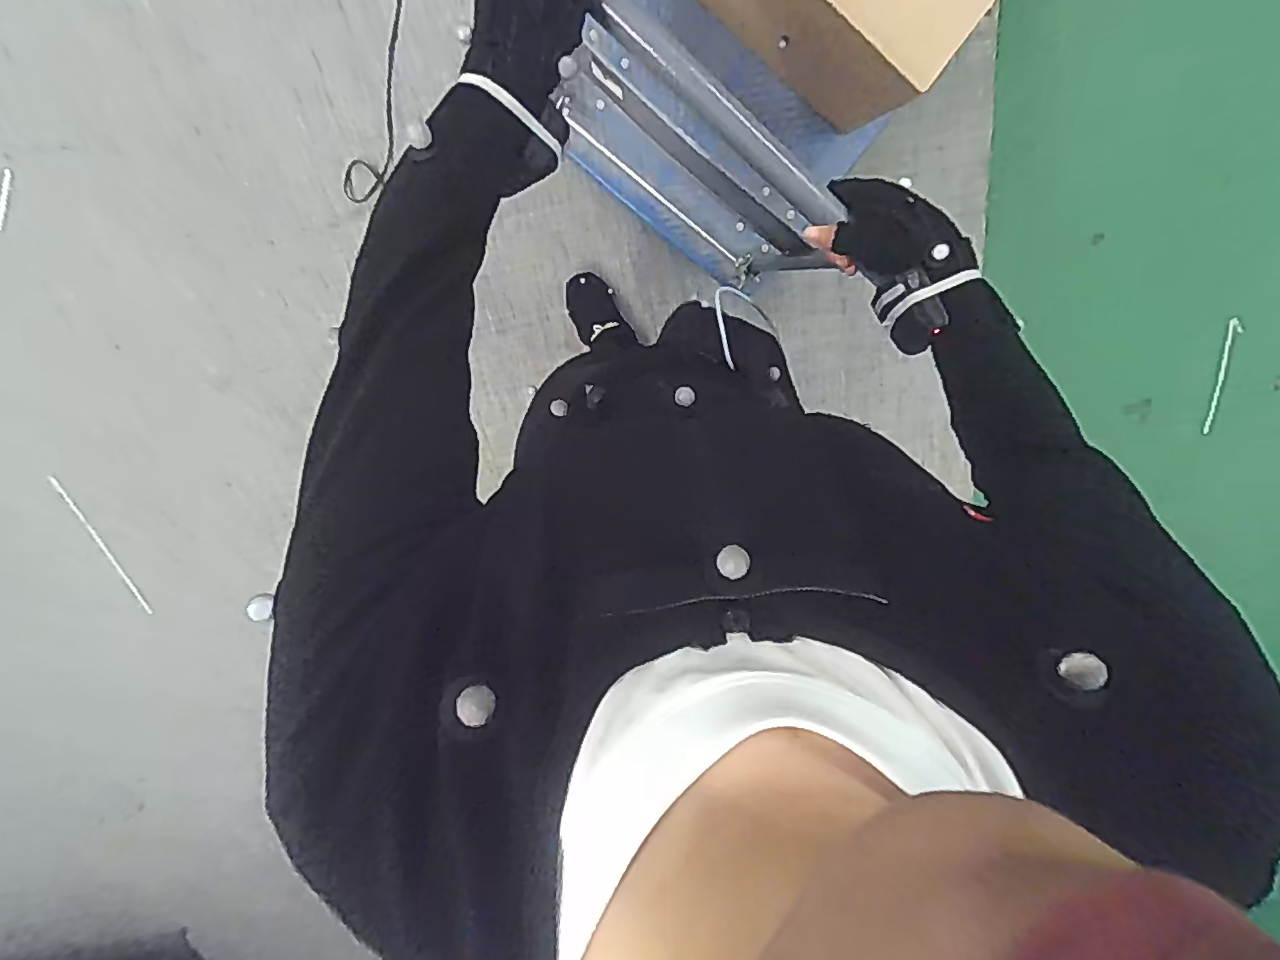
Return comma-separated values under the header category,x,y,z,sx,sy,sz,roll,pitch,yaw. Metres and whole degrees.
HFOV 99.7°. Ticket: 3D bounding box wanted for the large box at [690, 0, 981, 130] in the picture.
category,x,y,z,sx,sy,sz,roll,pitch,yaw
large box,0.321,-0.841,0.840,0.408,0.320,0.320,32,108,-13
